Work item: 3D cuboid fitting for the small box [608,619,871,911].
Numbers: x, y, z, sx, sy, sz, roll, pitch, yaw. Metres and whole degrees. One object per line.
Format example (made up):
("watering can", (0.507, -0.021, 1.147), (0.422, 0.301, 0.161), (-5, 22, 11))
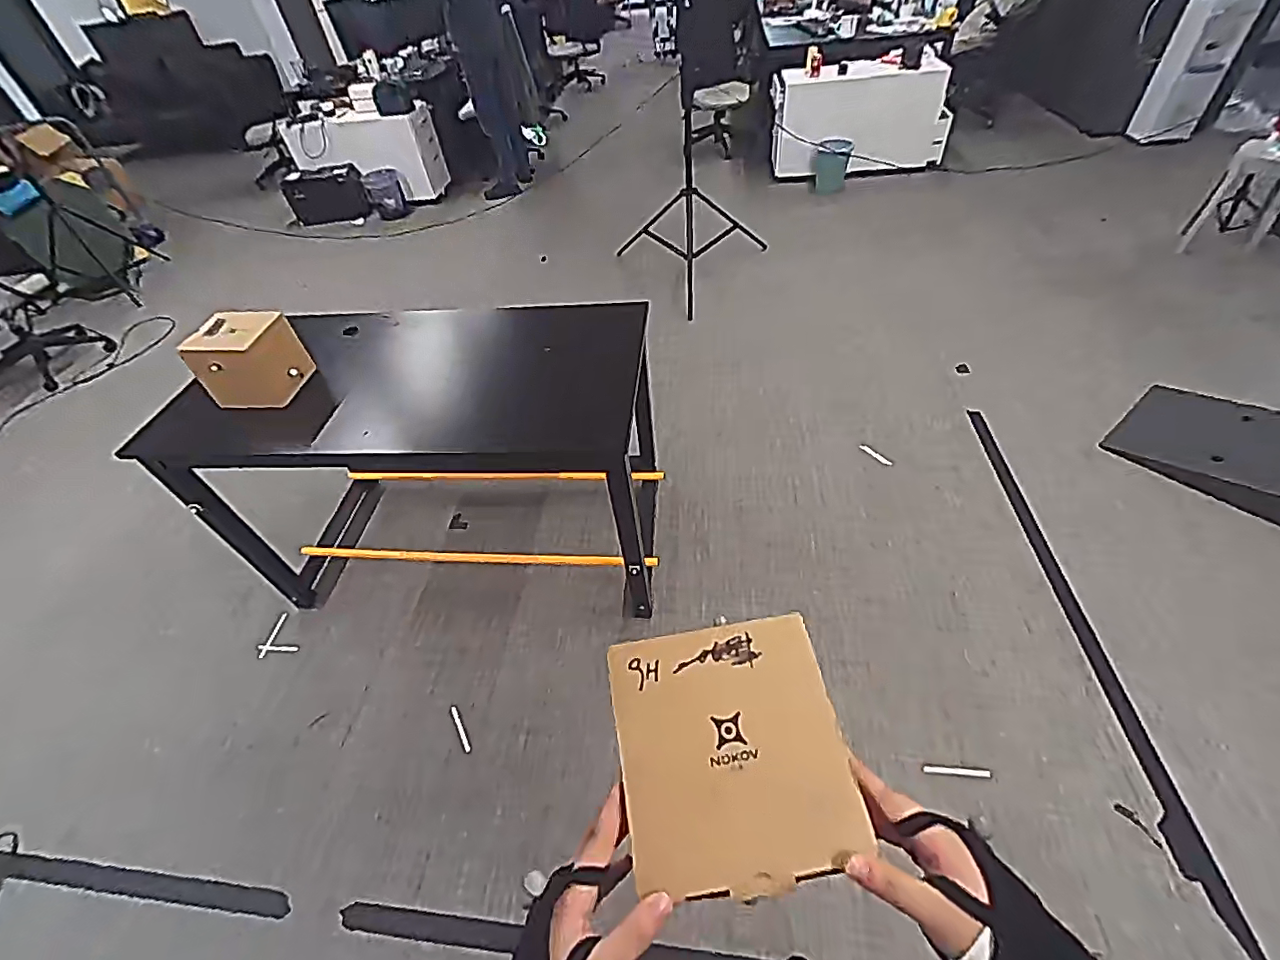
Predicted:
("small box", (0.071, 0.242, 0.475), (0.168, 0.176, 0.179), (-10, 59, -2))

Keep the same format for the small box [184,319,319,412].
("small box", (-0.951, -0.281, 1.343), (0.179, 0.176, 0.168), (0, 47, 6))
